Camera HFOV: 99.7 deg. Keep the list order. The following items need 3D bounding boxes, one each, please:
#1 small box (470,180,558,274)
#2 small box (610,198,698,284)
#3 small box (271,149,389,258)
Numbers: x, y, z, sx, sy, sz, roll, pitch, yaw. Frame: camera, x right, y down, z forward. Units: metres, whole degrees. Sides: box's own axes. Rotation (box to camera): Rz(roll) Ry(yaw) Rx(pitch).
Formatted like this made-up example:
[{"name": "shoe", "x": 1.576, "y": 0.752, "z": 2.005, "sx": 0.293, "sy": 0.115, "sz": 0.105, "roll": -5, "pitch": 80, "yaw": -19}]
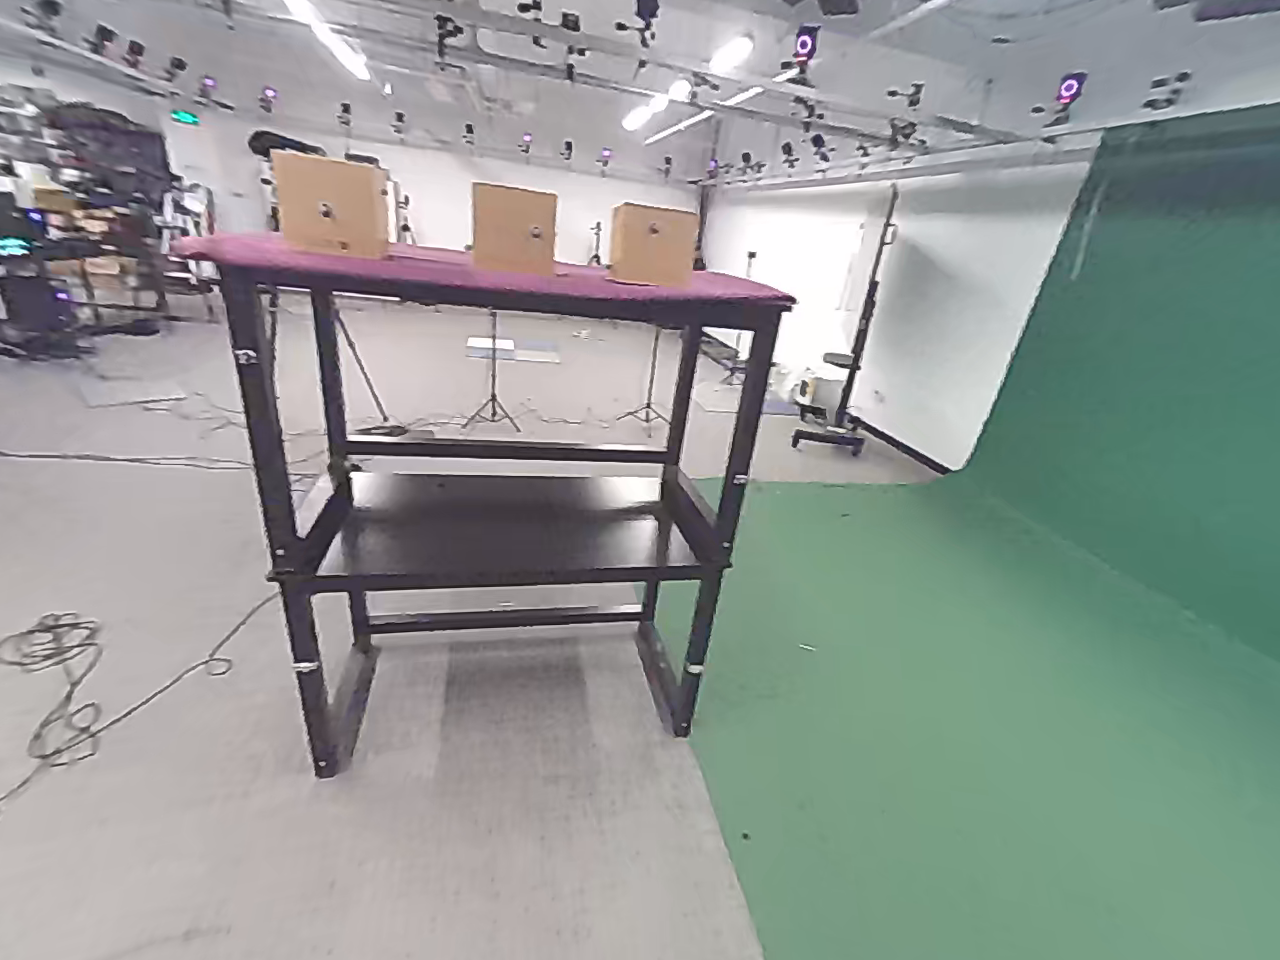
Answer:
[{"name": "small box", "x": -0.280, "y": -0.553, "z": 1.193, "sx": 0.179, "sy": 0.176, "sz": 0.168, "roll": -1, "pitch": 26, "yaw": -16}, {"name": "small box", "x": 0.025, "y": -0.567, "z": 1.298, "sx": 0.179, "sy": 0.176, "sz": 0.168, "roll": 1, "pitch": 23, "yaw": -13}, {"name": "small box", "x": -0.602, "y": -0.544, "z": 1.075, "sx": 0.168, "sy": 0.176, "sz": 0.179, "roll": 0, "pitch": 26, "yaw": -17}]
